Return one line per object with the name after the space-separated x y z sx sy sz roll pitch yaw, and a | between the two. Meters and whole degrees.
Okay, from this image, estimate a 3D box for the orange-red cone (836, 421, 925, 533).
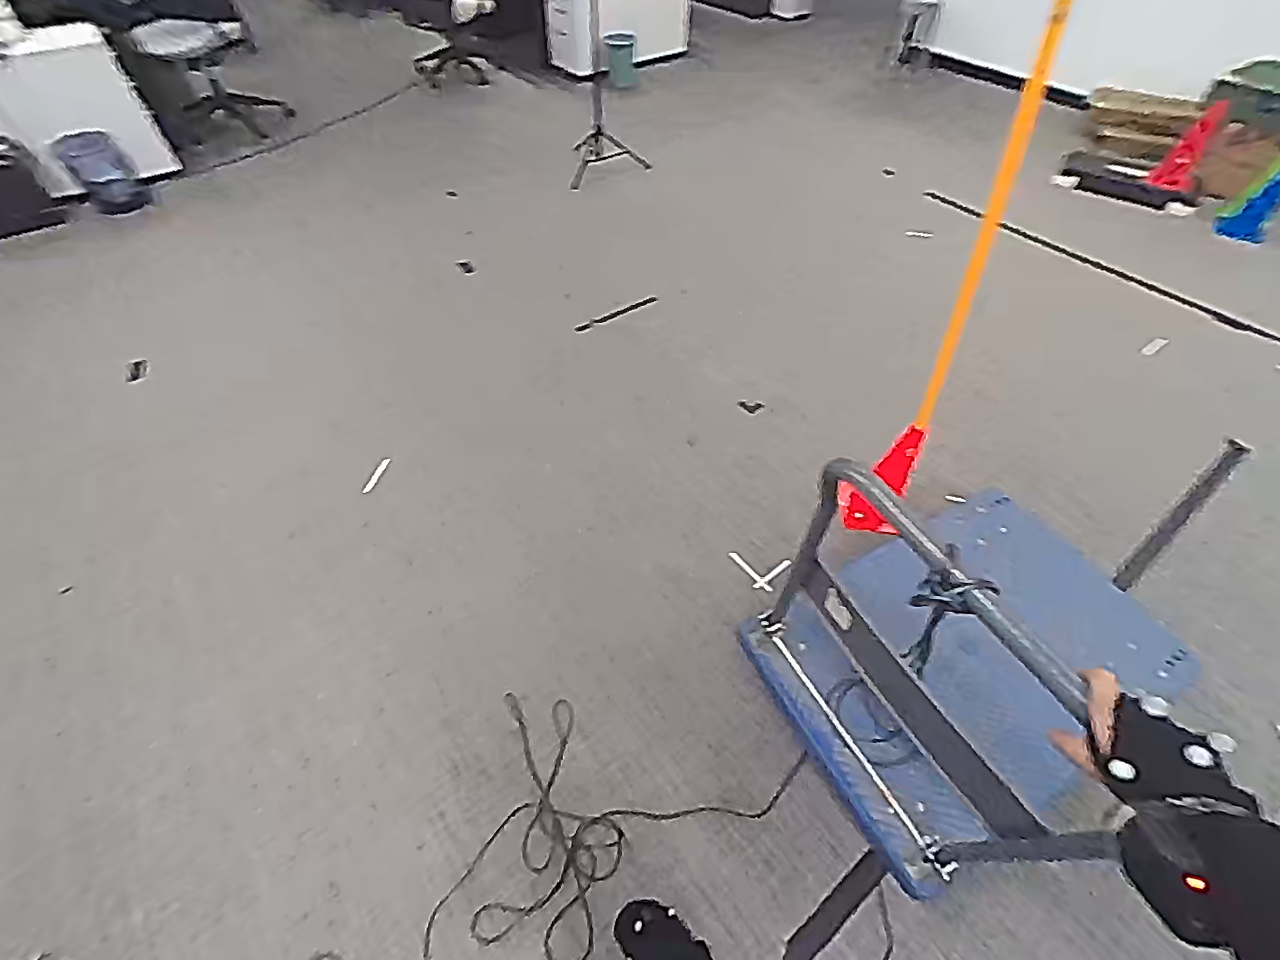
0.707 -0.032 1.519 0.199 0.360 0.198 7 53 3 | orange-red cone
